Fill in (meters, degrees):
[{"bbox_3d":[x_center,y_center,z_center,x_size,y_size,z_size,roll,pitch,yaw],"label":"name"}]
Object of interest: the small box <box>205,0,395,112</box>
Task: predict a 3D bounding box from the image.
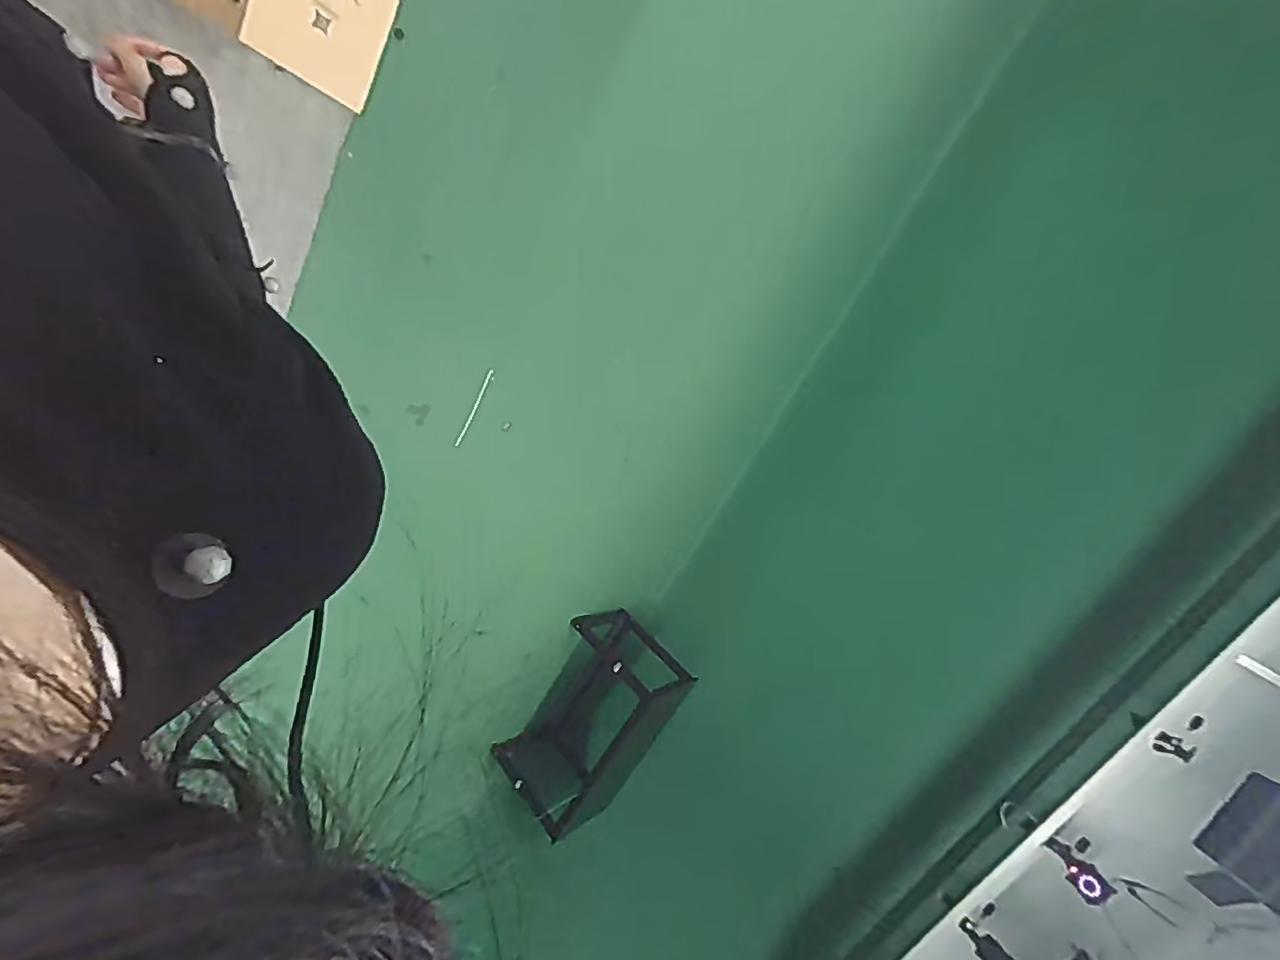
[{"bbox_3d":[-0.498,-0.689,0.786,0.168,0.176,0.179,5,121,-57],"label":"small box"}]
